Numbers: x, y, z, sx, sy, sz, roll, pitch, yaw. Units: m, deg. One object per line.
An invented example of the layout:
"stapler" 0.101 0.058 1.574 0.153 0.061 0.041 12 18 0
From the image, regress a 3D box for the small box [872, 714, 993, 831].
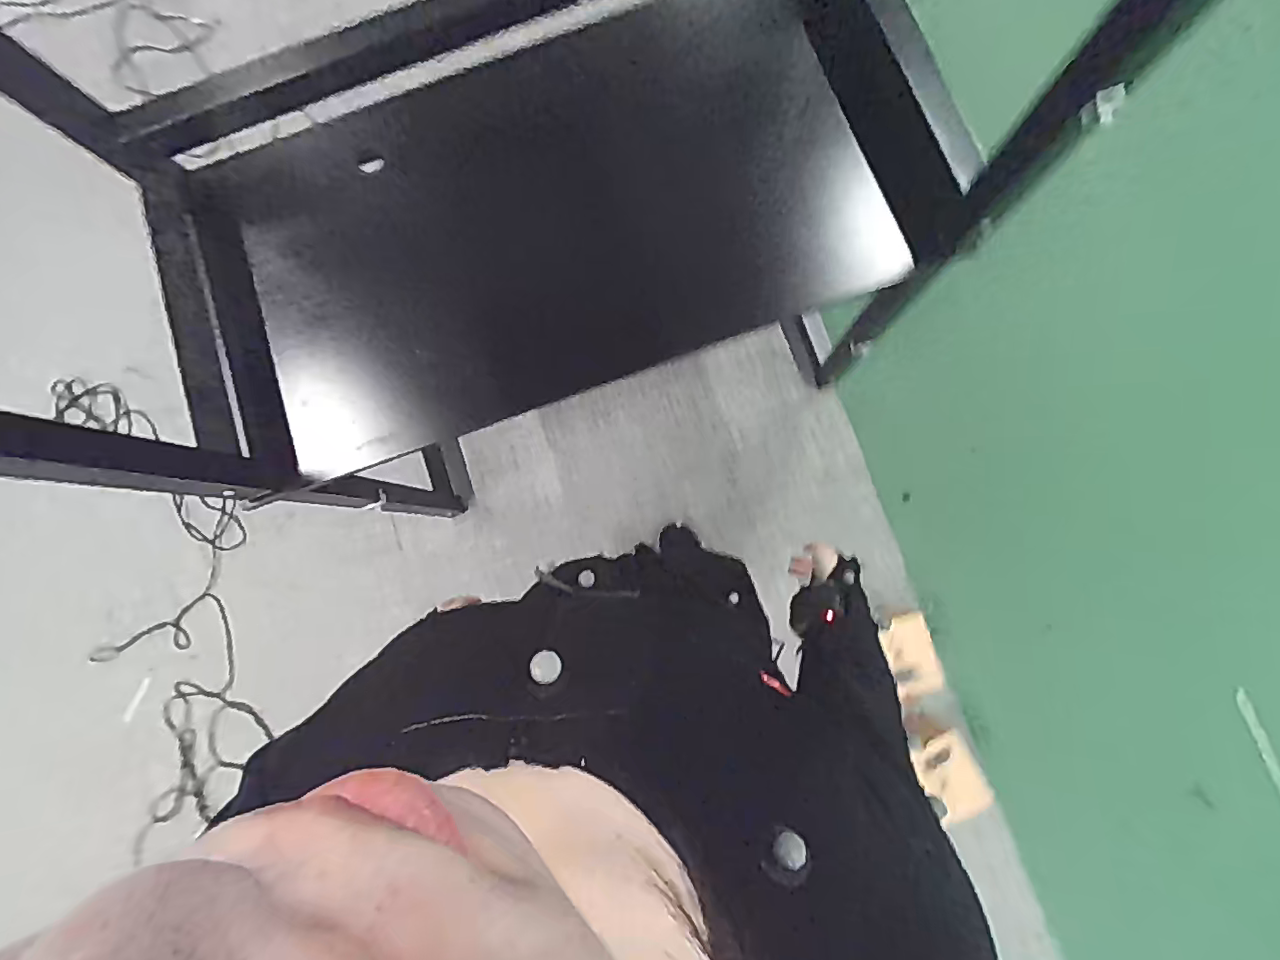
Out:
"small box" 0.697 0.695 1.313 0.168 0.176 0.179 -26 83 2
